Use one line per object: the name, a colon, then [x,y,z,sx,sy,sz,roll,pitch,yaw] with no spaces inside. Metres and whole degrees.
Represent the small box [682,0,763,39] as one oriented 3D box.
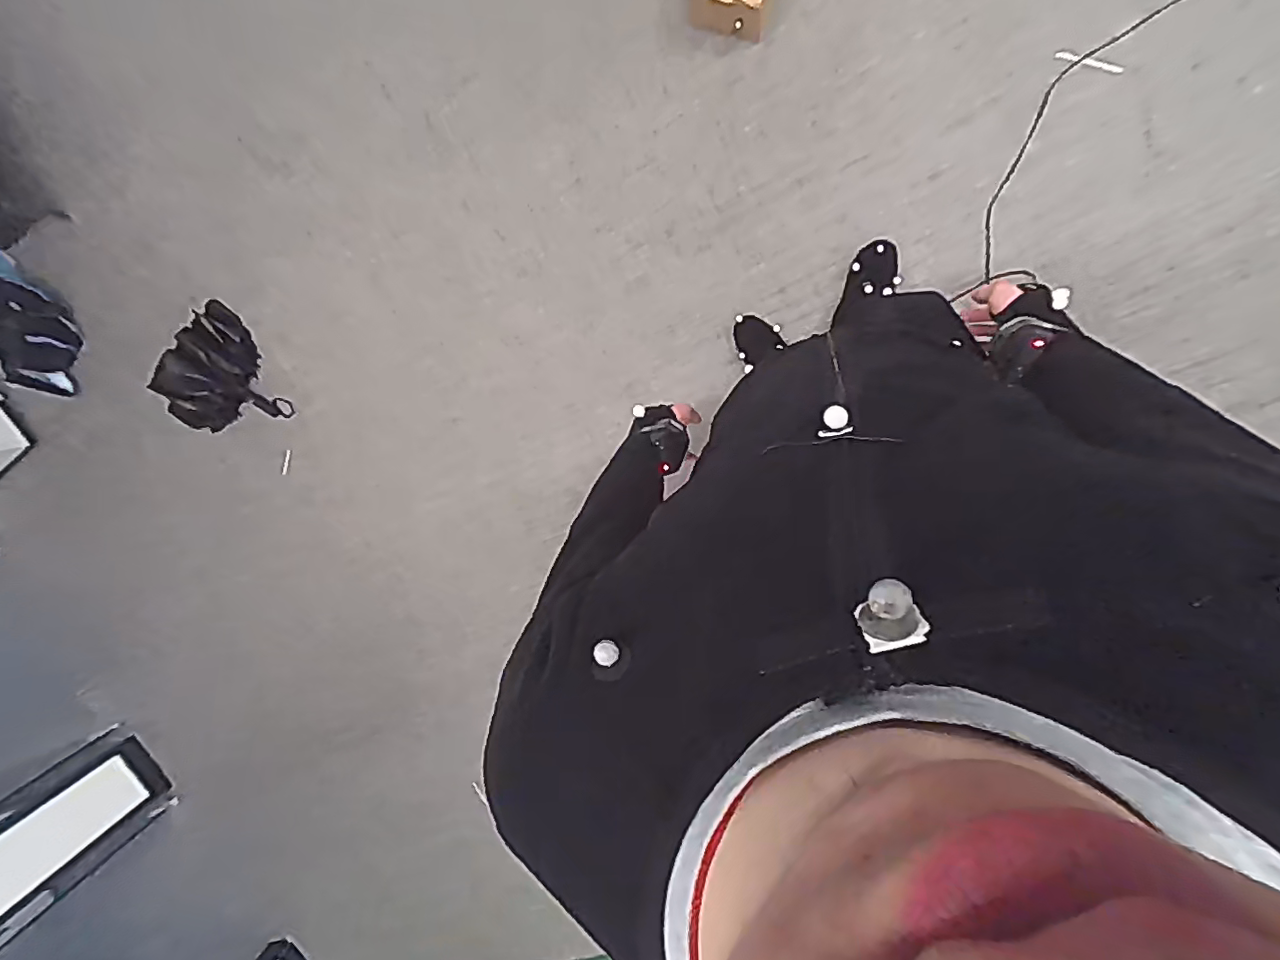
small box: [0.192,-1.103,1.165,0.168,0.176,0.179,18,108,4]
